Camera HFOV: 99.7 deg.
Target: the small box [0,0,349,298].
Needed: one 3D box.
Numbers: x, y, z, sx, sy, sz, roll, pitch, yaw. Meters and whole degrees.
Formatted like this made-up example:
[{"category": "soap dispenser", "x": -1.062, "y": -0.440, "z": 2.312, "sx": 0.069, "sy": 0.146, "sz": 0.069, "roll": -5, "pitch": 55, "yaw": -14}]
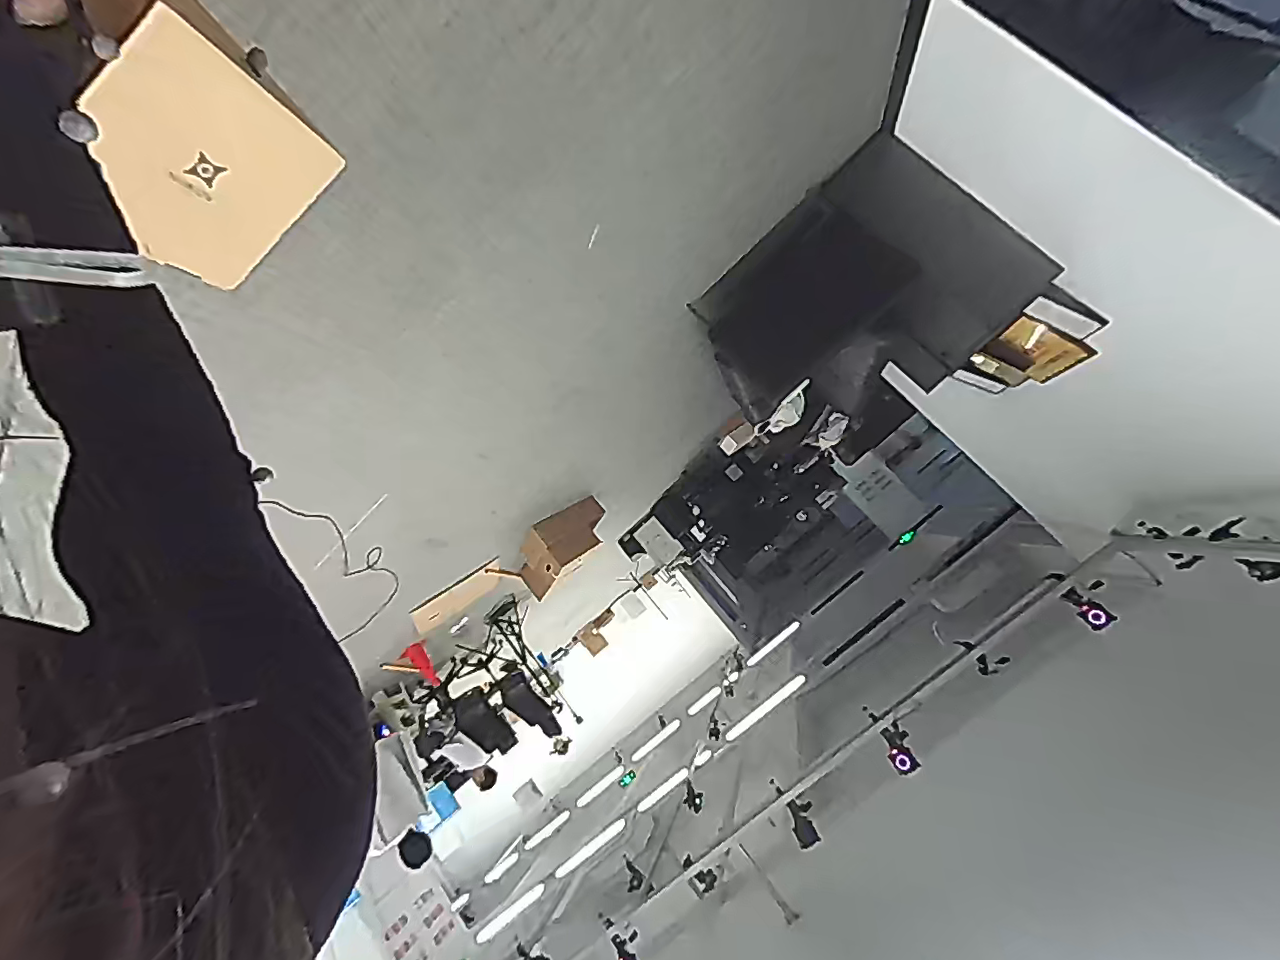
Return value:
[{"category": "small box", "x": -0.405, "y": -0.301, "z": 0.459, "sx": 0.179, "sy": 0.176, "sz": 0.168, "roll": -43, "pitch": 167, "yaw": 7}]
